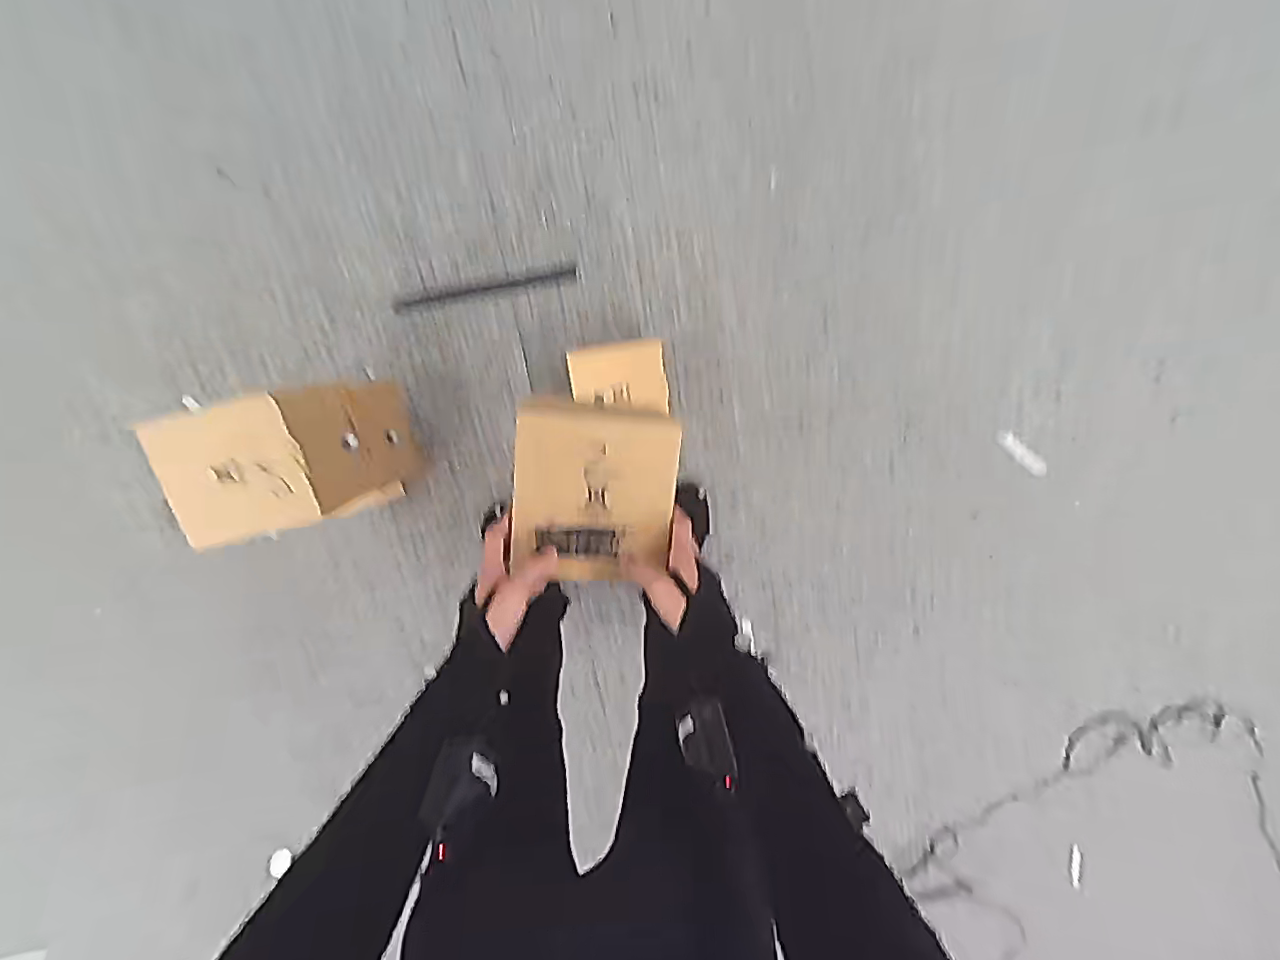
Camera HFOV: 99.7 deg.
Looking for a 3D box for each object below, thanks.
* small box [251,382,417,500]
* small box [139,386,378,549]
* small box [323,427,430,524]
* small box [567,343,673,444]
[{"bbox_3d":[-0.490,-0.067,0.892,0.168,0.176,0.179,-6,104,-1],"label":"small box"},{"bbox_3d":[-0.495,-0.026,0.732,0.179,0.176,0.168,-13,104,0],"label":"small box"},{"bbox_3d":[-0.543,-0.041,1.063,0.168,0.176,0.179,-20,105,2],"label":"small box"},{"bbox_3d":[-0.040,-0.173,1.067,0.179,0.176,0.168,-9,105,-3],"label":"small box"}]
